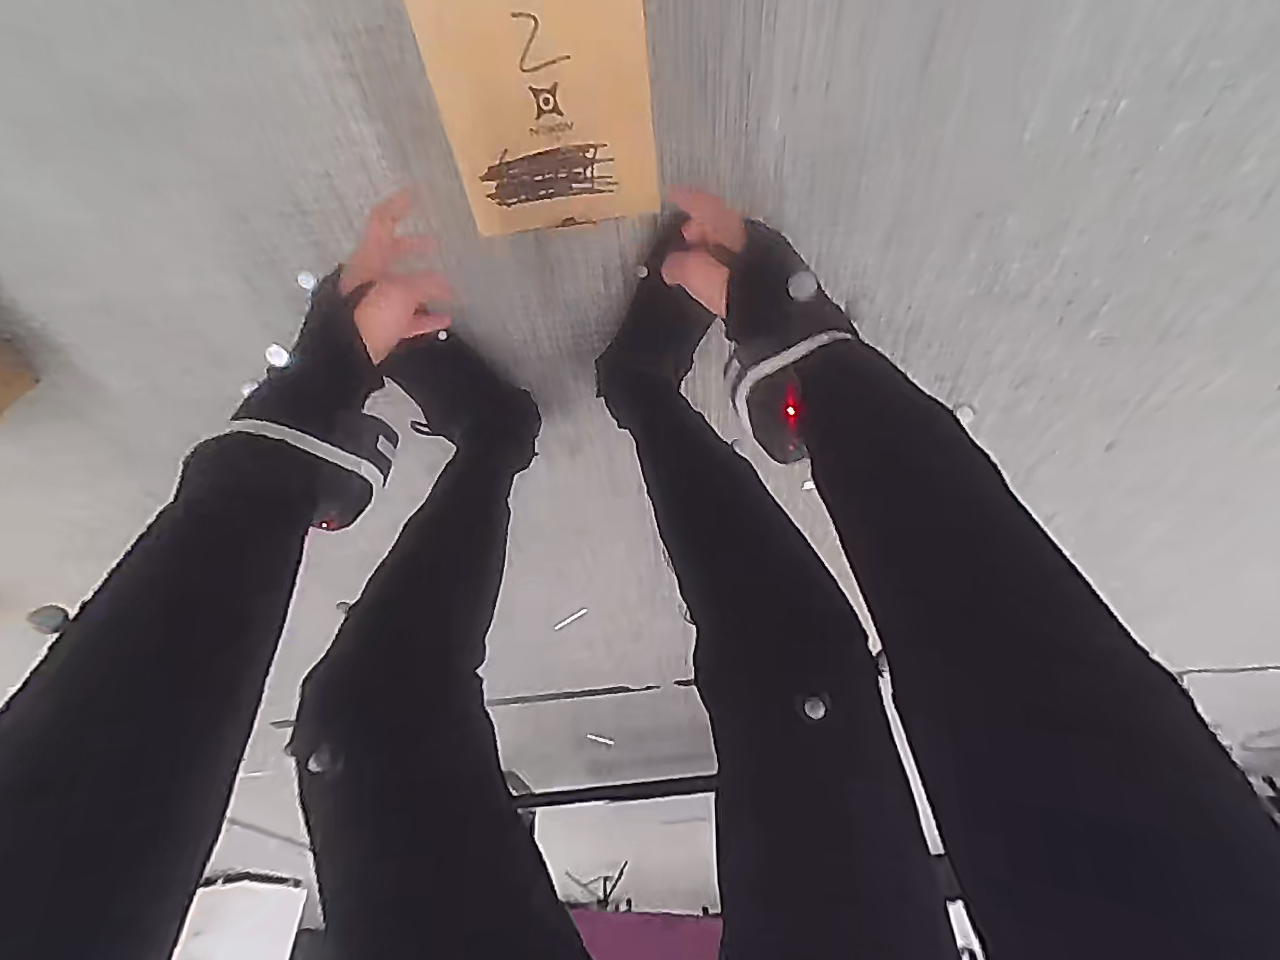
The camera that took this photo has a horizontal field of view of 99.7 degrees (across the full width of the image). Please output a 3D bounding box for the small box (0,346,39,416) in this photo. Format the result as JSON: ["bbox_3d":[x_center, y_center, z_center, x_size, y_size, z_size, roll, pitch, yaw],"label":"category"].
[{"bbox_3d":[-0.913,-0.122,0.639,0.168,0.176,0.179,-13,136,7],"label":"small box"}]
